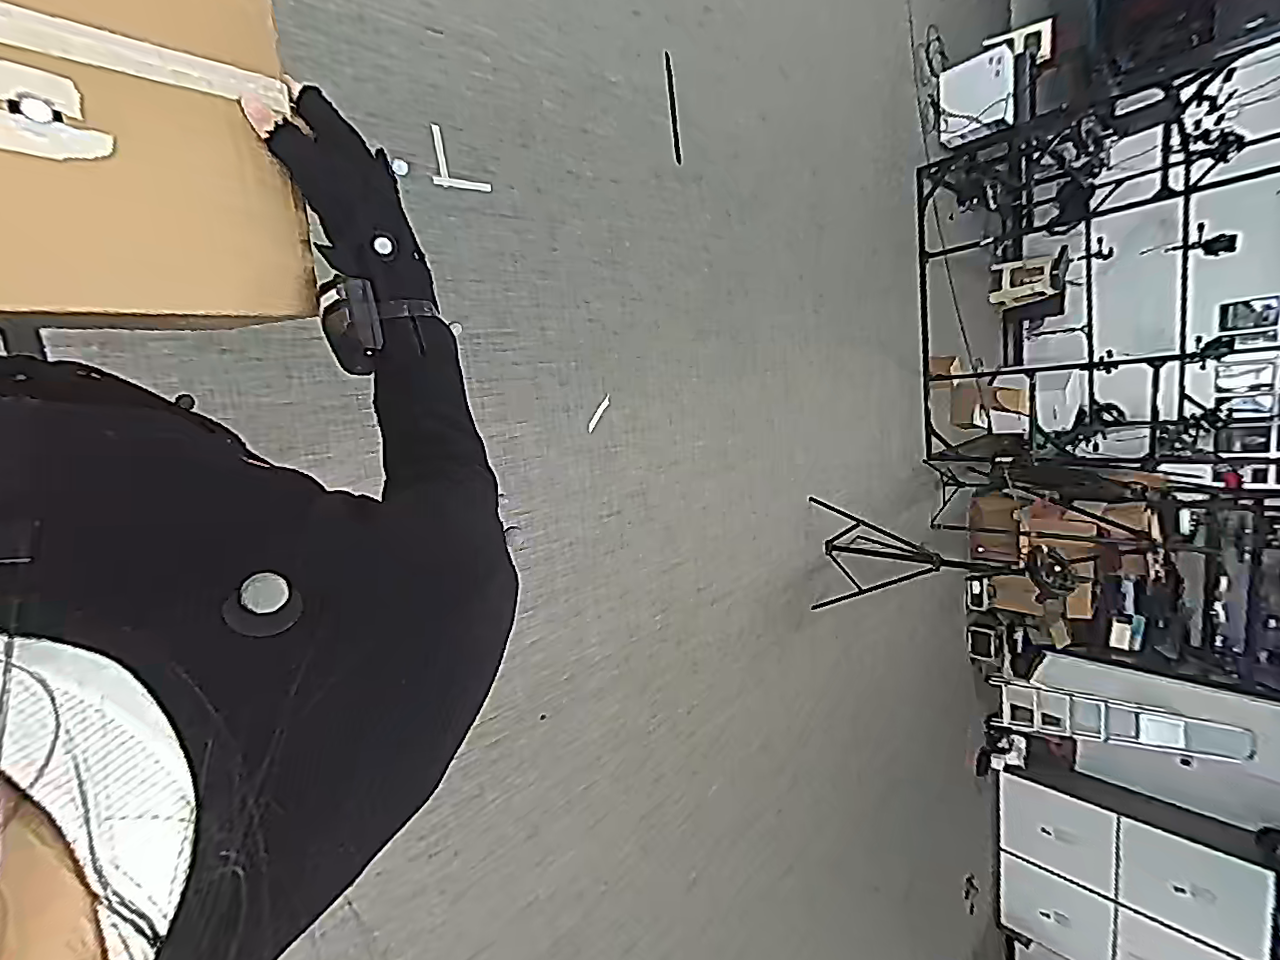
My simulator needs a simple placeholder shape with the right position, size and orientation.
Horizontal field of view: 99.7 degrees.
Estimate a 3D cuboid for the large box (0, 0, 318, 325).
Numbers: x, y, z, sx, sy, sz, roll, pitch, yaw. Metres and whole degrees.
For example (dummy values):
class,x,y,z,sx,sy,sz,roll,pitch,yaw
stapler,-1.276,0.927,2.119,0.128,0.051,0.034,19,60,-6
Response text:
class,x,y,z,sx,sy,sz,roll,pitch,yaw
large box,-0.520,-0.273,0.377,0.408,0.320,0.320,-16,112,-45
